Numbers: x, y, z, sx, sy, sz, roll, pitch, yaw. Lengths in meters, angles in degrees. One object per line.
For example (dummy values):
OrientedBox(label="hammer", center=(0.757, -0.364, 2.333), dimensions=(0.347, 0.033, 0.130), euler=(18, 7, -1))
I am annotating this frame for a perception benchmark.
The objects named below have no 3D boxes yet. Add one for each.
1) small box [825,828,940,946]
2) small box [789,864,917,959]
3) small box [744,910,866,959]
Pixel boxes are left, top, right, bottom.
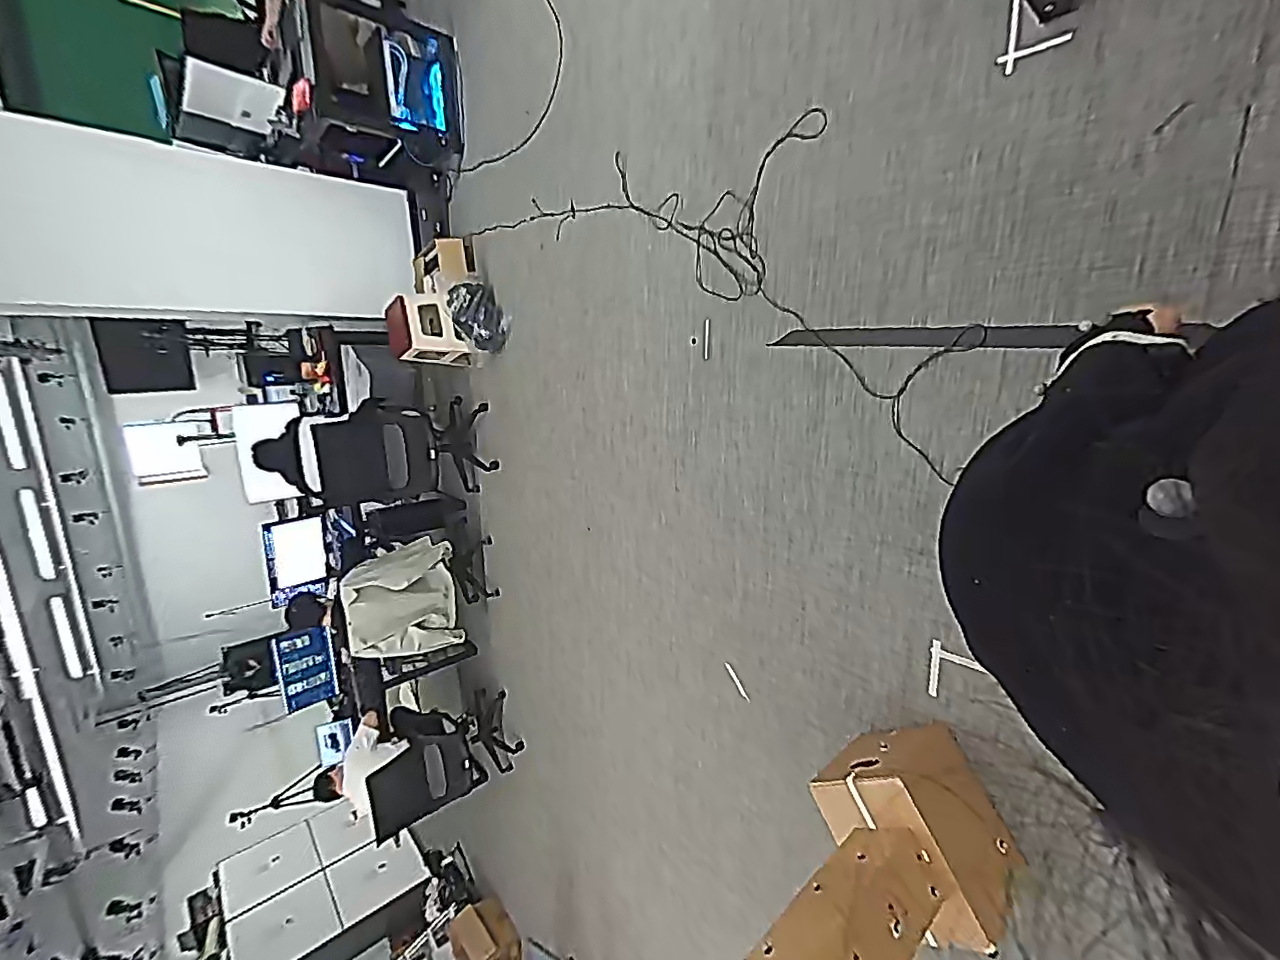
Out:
OrientedBox(label="small box", center=(0.598, 0.981, 1.321), dimensions=(0.179, 0.176, 0.168), euler=(-43, 67, 46))
OrientedBox(label="small box", center=(0.478, 1.002, 1.214), dimensions=(0.179, 0.176, 0.168), euler=(-38, 71, 46))
OrientedBox(label="small box", center=(0.355, 1.029, 1.107), dimensions=(0.179, 0.176, 0.168), euler=(-40, 70, 47))
